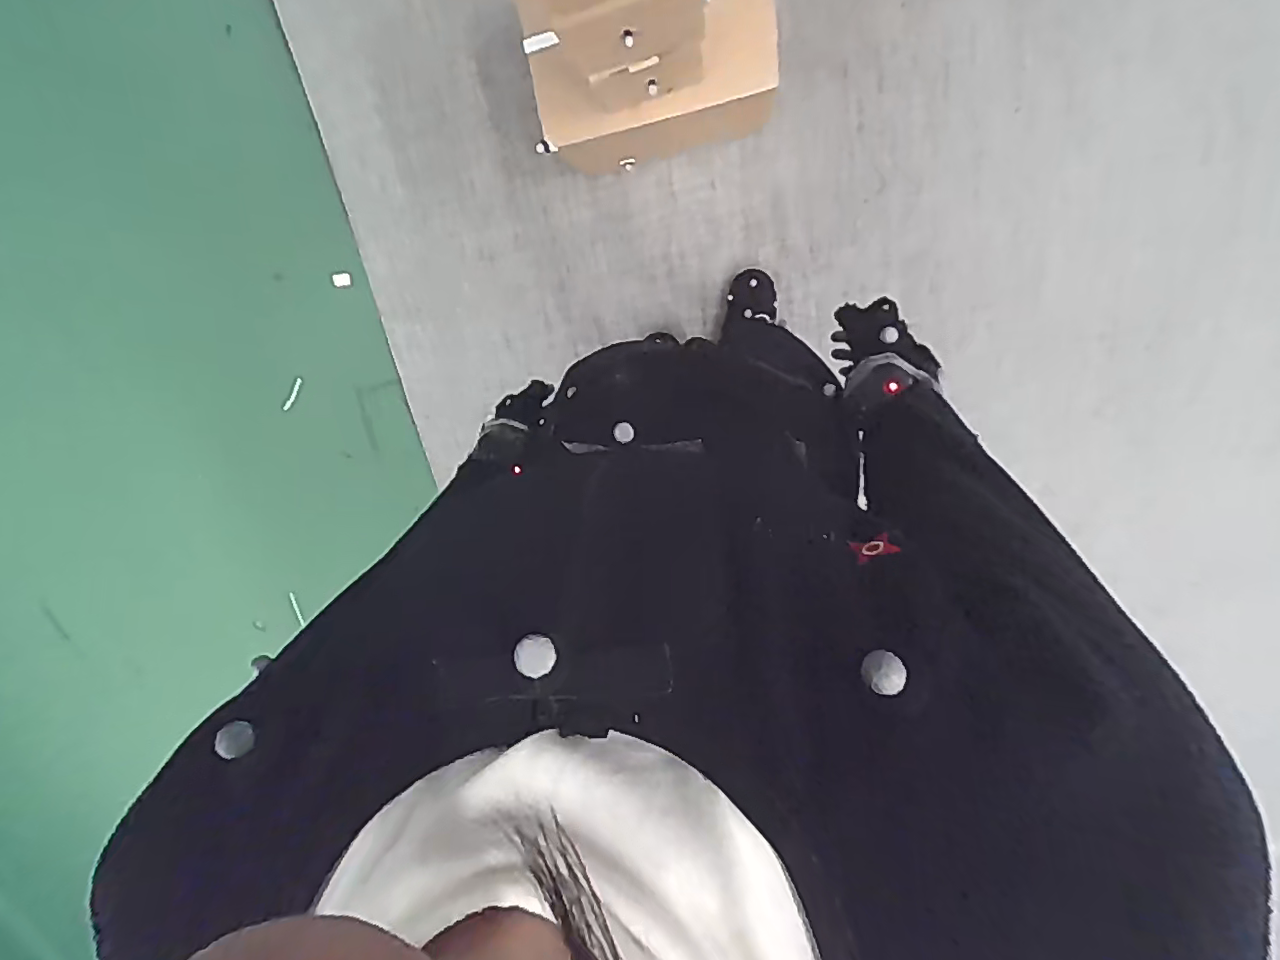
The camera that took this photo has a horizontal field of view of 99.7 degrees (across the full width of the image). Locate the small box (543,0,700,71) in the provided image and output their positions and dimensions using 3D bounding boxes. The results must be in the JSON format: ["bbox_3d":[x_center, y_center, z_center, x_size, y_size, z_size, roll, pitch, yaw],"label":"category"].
[{"bbox_3d":[-0.025,-0.628,0.644,0.179,0.176,0.168,-8,110,13],"label":"small box"}]

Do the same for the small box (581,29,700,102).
[{"bbox_3d":[-0.010,-0.689,0.797,0.168,0.176,0.179,-11,110,13],"label":"small box"}]
